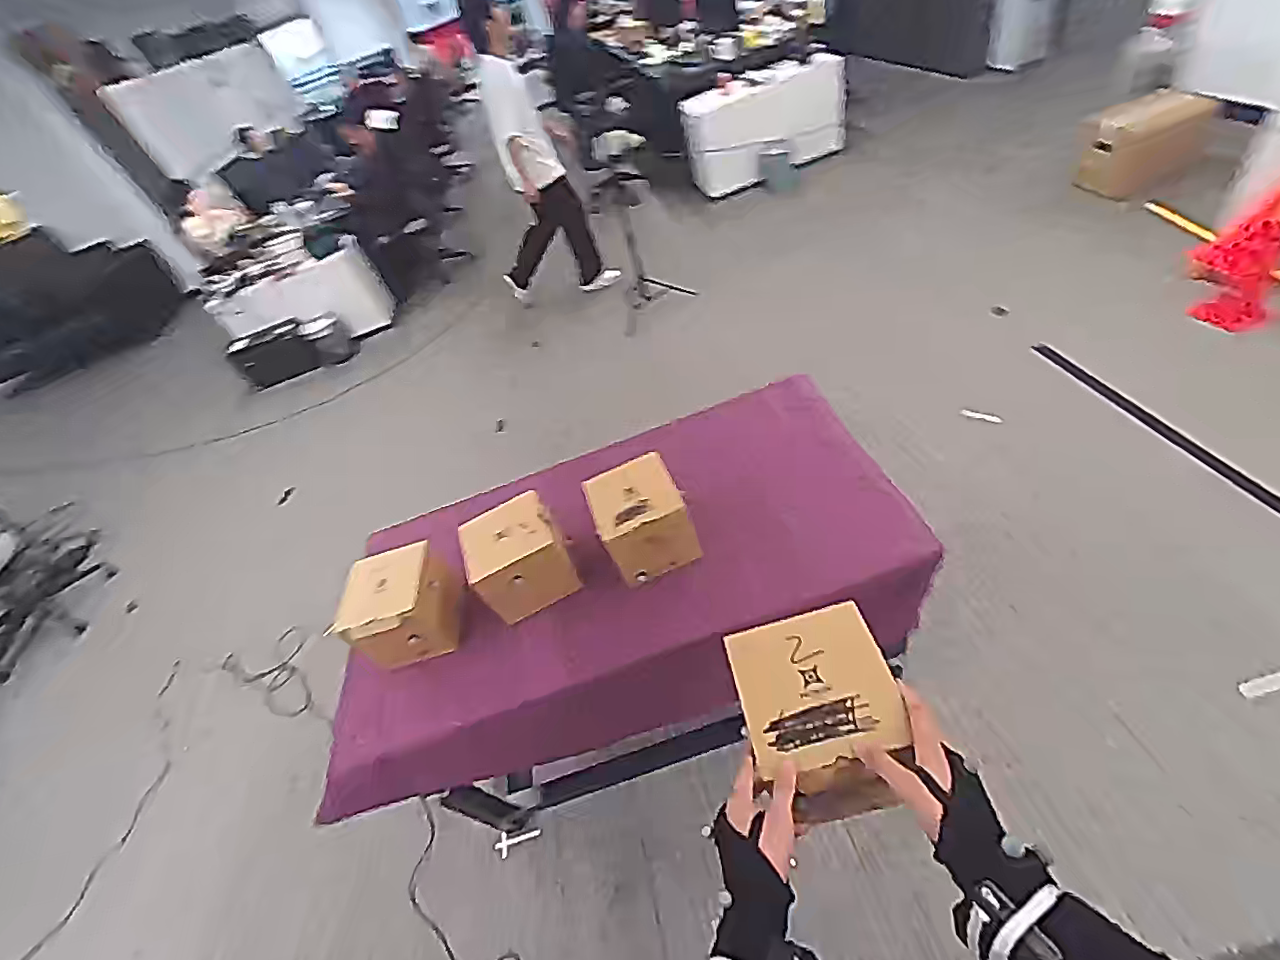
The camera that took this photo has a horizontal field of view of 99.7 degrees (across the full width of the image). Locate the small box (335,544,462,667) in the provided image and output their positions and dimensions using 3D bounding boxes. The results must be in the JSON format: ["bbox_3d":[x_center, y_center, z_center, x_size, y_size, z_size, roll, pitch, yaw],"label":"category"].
[{"bbox_3d":[-0.490,0.269,1.126,0.168,0.176,0.179,-17,44,4],"label":"small box"}]

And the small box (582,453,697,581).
[{"bbox_3d":[0.002,0.084,1.108,0.168,0.176,0.179,-24,44,-2],"label":"small box"}]

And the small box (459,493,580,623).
[{"bbox_3d":[-0.250,0.166,1.127,0.179,0.176,0.168,-27,45,-5],"label":"small box"}]
